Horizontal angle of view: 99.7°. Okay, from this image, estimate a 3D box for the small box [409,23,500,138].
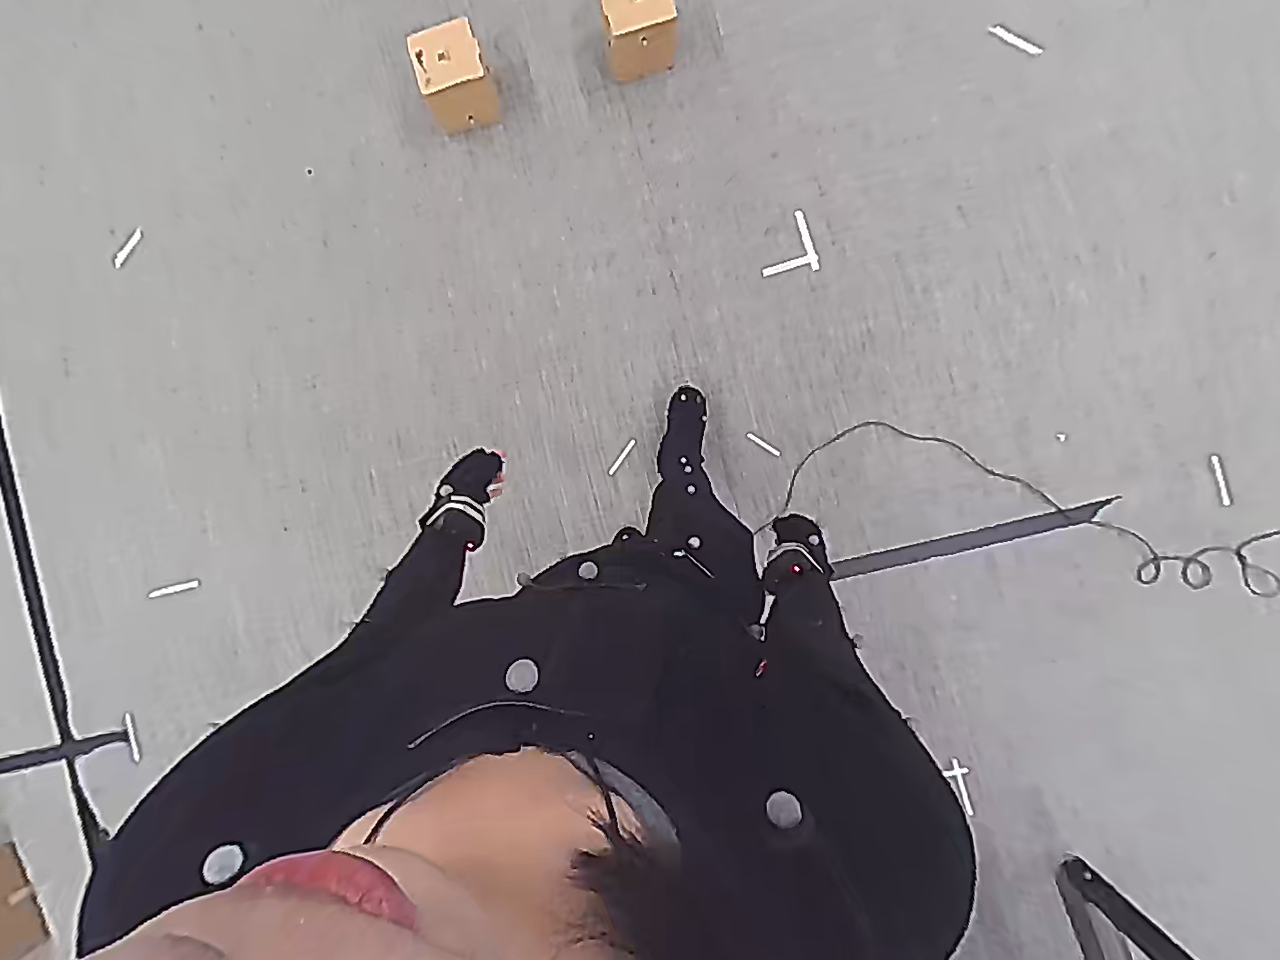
[{"bbox_3d":[-0.498,-1.088,1.486,0.179,0.176,0.168,-16,88,2],"label":"small box"}]

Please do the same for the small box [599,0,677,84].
[{"bbox_3d":[-0.006,-1.227,1.467,0.179,0.176,0.168,-16,90,1],"label":"small box"}]
